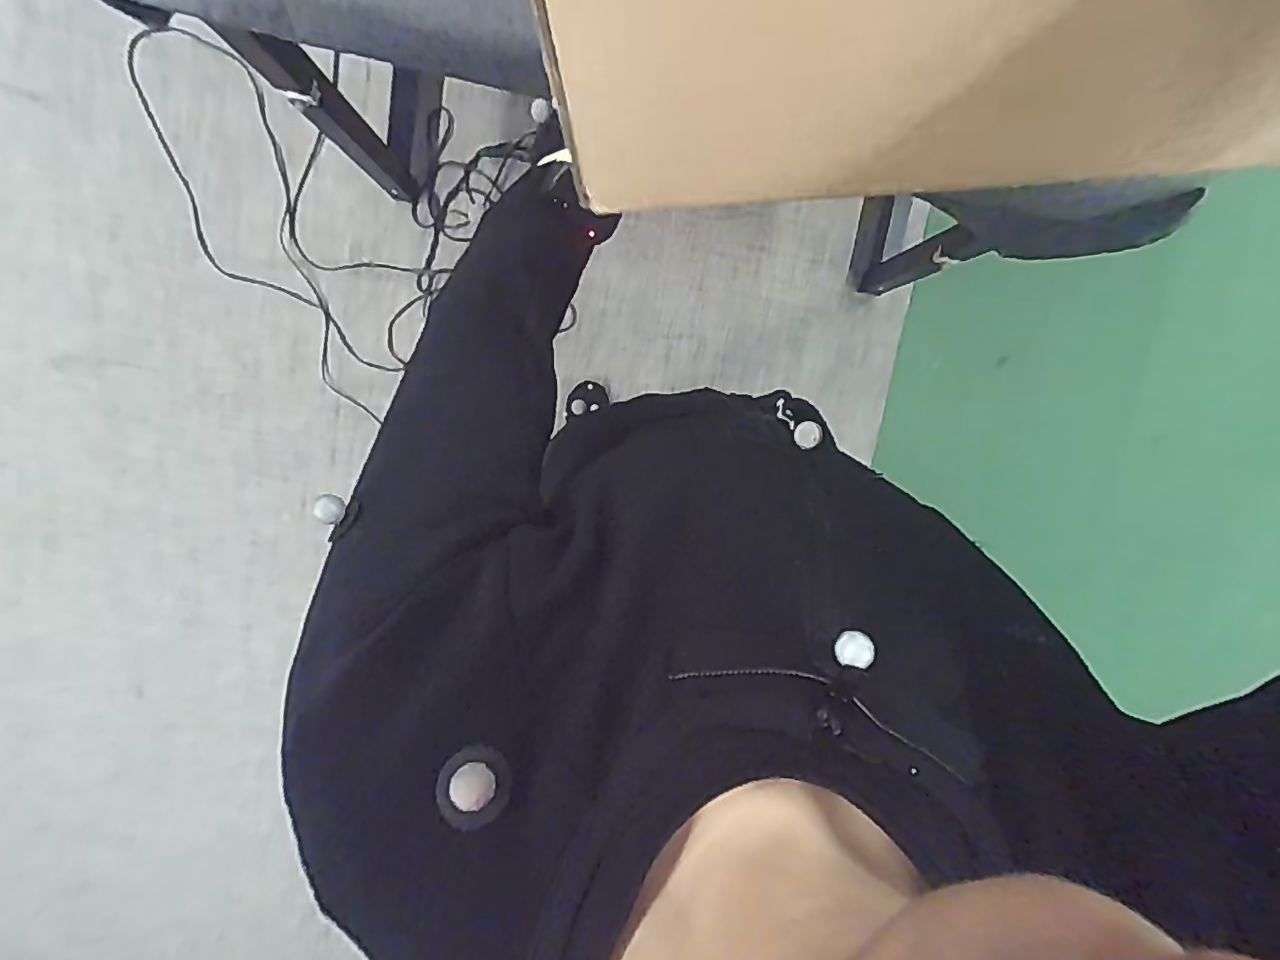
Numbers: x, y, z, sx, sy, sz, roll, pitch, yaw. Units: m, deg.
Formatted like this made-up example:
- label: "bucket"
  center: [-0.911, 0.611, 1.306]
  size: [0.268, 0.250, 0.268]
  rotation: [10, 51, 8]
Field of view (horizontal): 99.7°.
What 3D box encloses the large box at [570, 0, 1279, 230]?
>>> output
- label: "large box"
  center: [0.171, -0.350, 0.230]
  size: [0.408, 0.320, 0.320]
  rotation: [-2, 143, 10]
